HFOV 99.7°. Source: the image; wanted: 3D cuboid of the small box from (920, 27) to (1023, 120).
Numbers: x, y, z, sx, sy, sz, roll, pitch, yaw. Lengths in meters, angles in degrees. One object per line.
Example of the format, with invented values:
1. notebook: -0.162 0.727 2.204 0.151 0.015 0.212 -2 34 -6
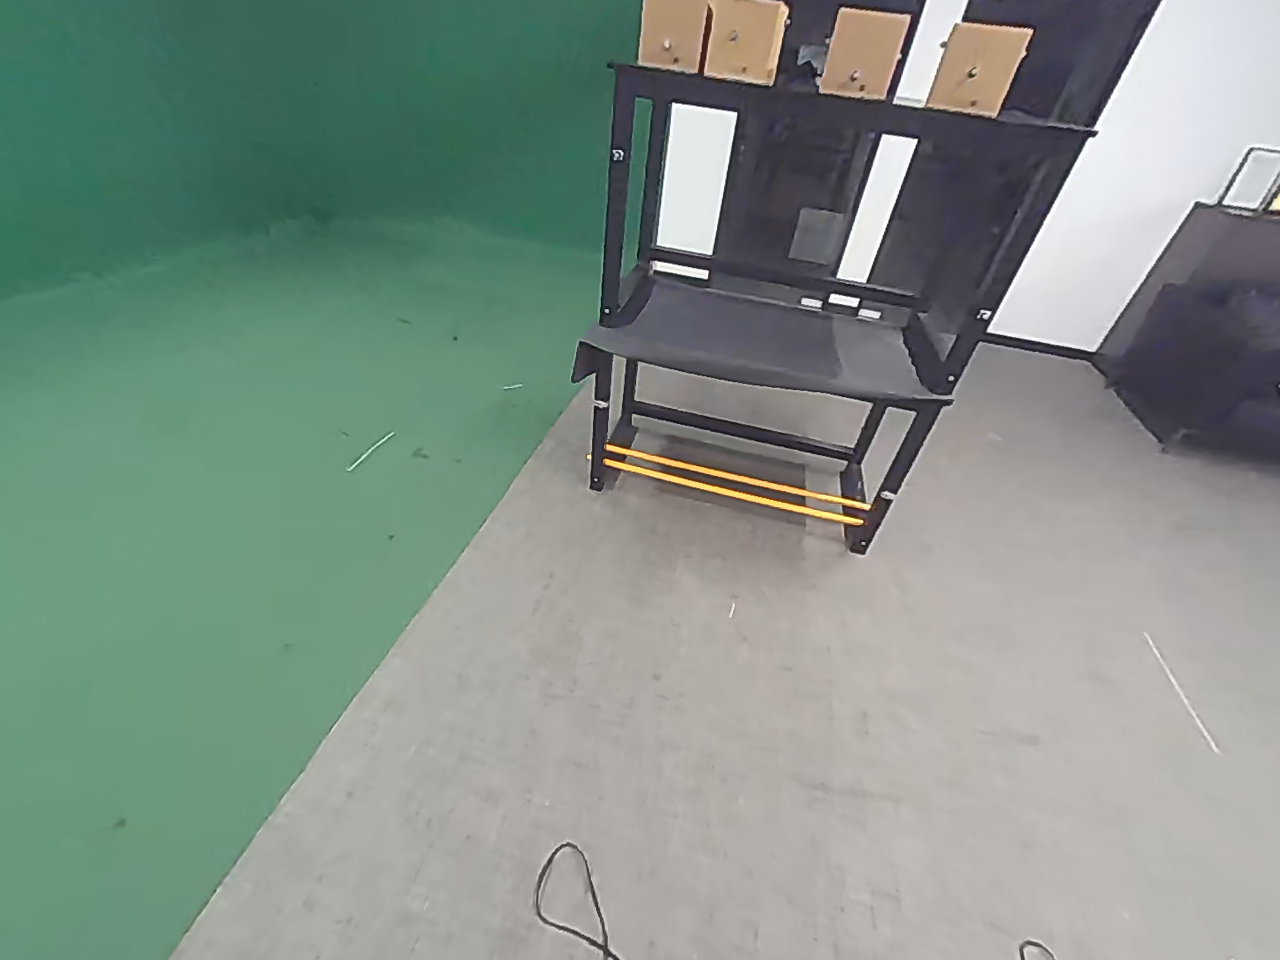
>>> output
1. small box: 0.824 -1.020 1.362 0.168 0.176 0.179 19 39 14

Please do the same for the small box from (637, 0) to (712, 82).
1. small box: 0.093 -1.207 1.480 0.168 0.176 0.179 12 39 6
